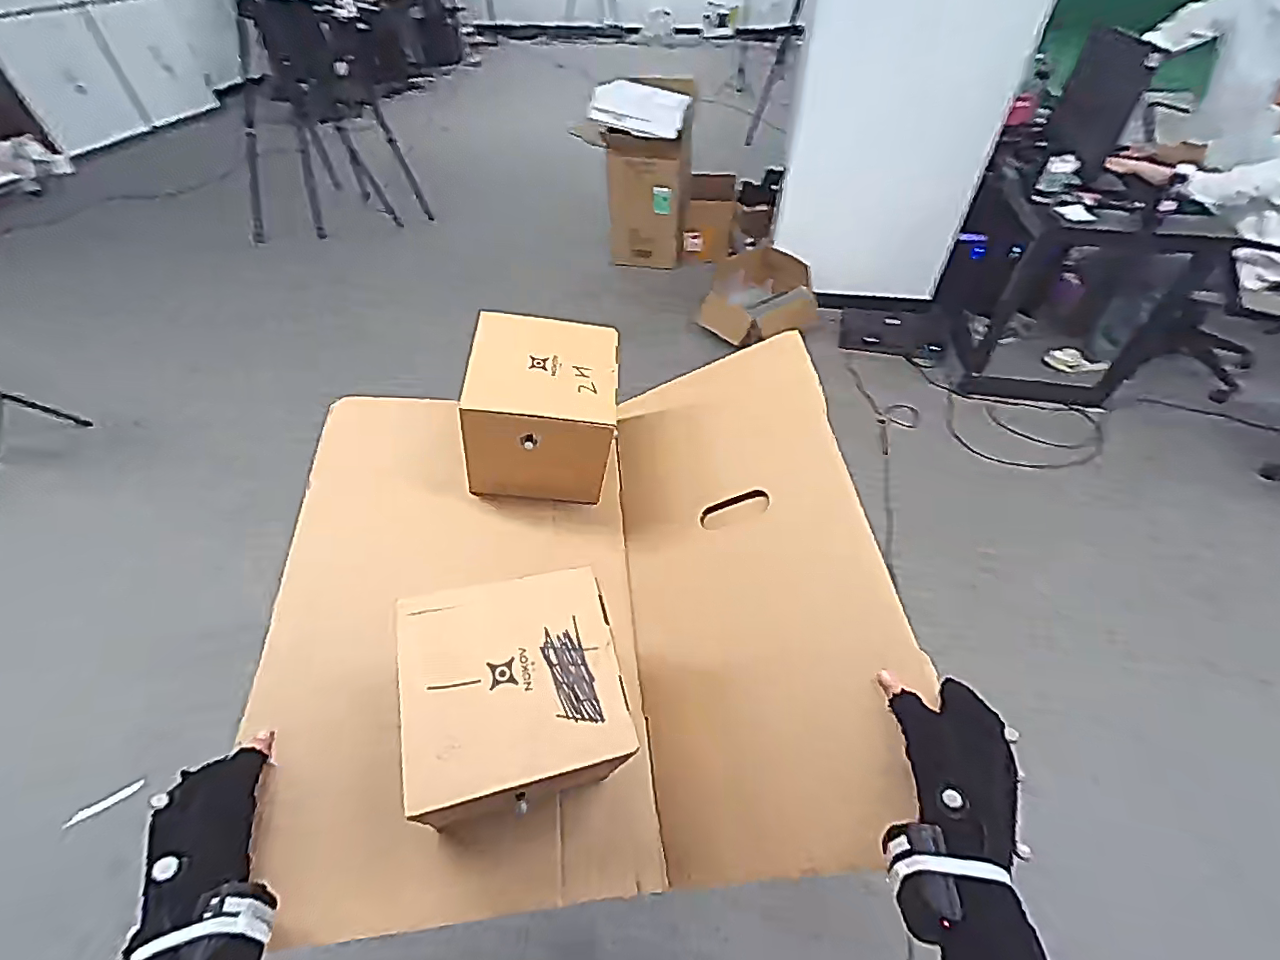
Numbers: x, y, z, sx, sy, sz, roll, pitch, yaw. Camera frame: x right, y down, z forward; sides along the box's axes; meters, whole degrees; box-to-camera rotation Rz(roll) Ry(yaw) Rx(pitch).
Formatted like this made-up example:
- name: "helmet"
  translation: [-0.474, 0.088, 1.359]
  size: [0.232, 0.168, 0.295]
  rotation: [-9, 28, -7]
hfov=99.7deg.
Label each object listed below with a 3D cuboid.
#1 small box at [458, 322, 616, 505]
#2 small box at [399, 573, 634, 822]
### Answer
- name: "small box"
  translation: [-0.131, -0.081, 0.718]
  size: [0.179, 0.176, 0.168]
  rotation: [6, 55, -9]
- name: "small box"
  translation: [-0.121, 0.209, 0.517]
  size: [0.179, 0.176, 0.168]
  rotation: [-8, 58, -17]
